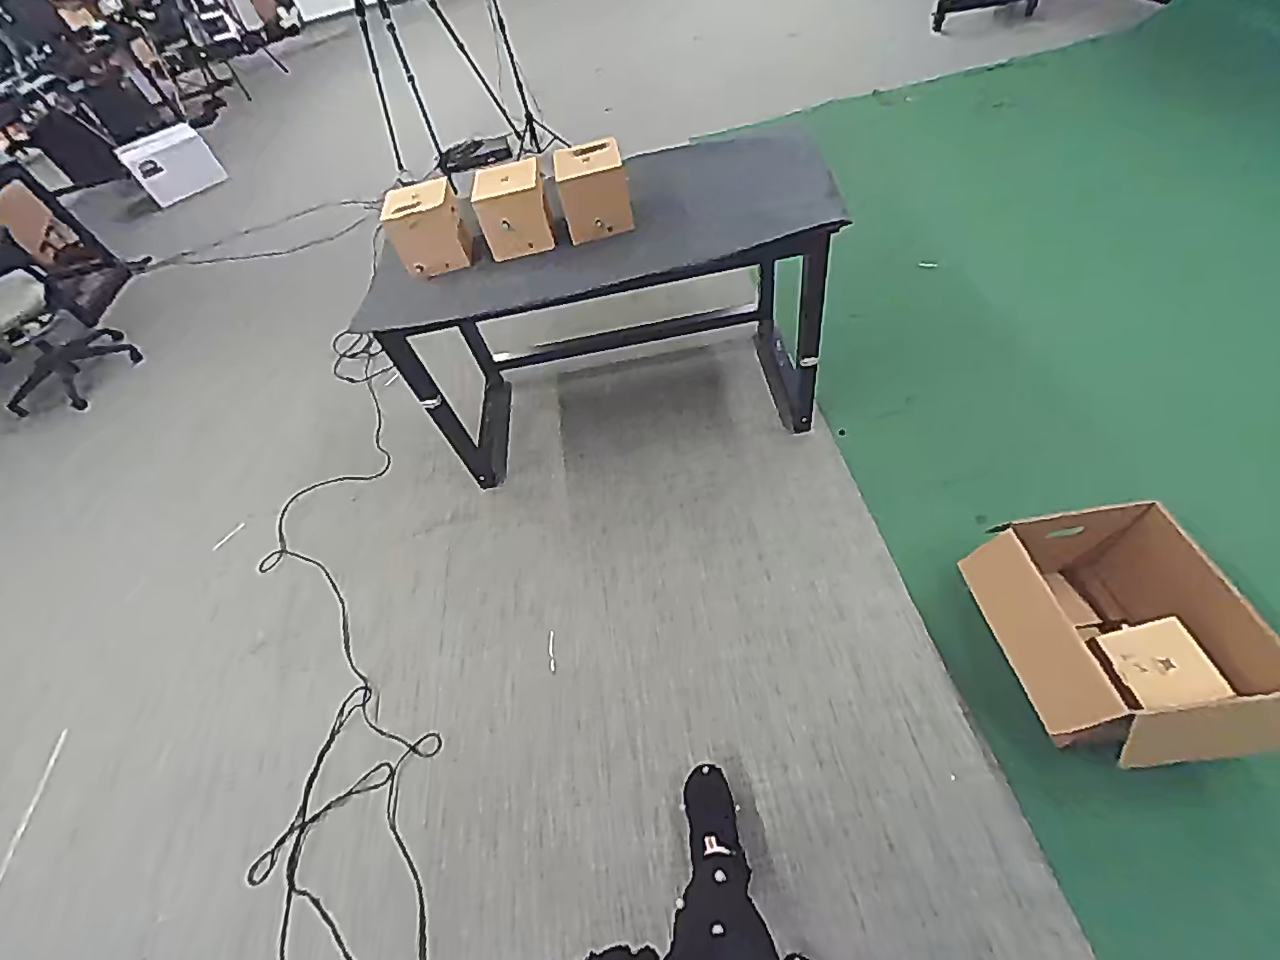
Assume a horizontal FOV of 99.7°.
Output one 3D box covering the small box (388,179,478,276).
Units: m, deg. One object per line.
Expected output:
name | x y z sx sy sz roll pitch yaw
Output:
small box | -0.544 -0.666 1.445 0.168 0.176 0.179 -14 51 2

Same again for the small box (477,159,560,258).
small box | -0.312 -0.706 1.425 0.168 0.176 0.179 -11 51 4
